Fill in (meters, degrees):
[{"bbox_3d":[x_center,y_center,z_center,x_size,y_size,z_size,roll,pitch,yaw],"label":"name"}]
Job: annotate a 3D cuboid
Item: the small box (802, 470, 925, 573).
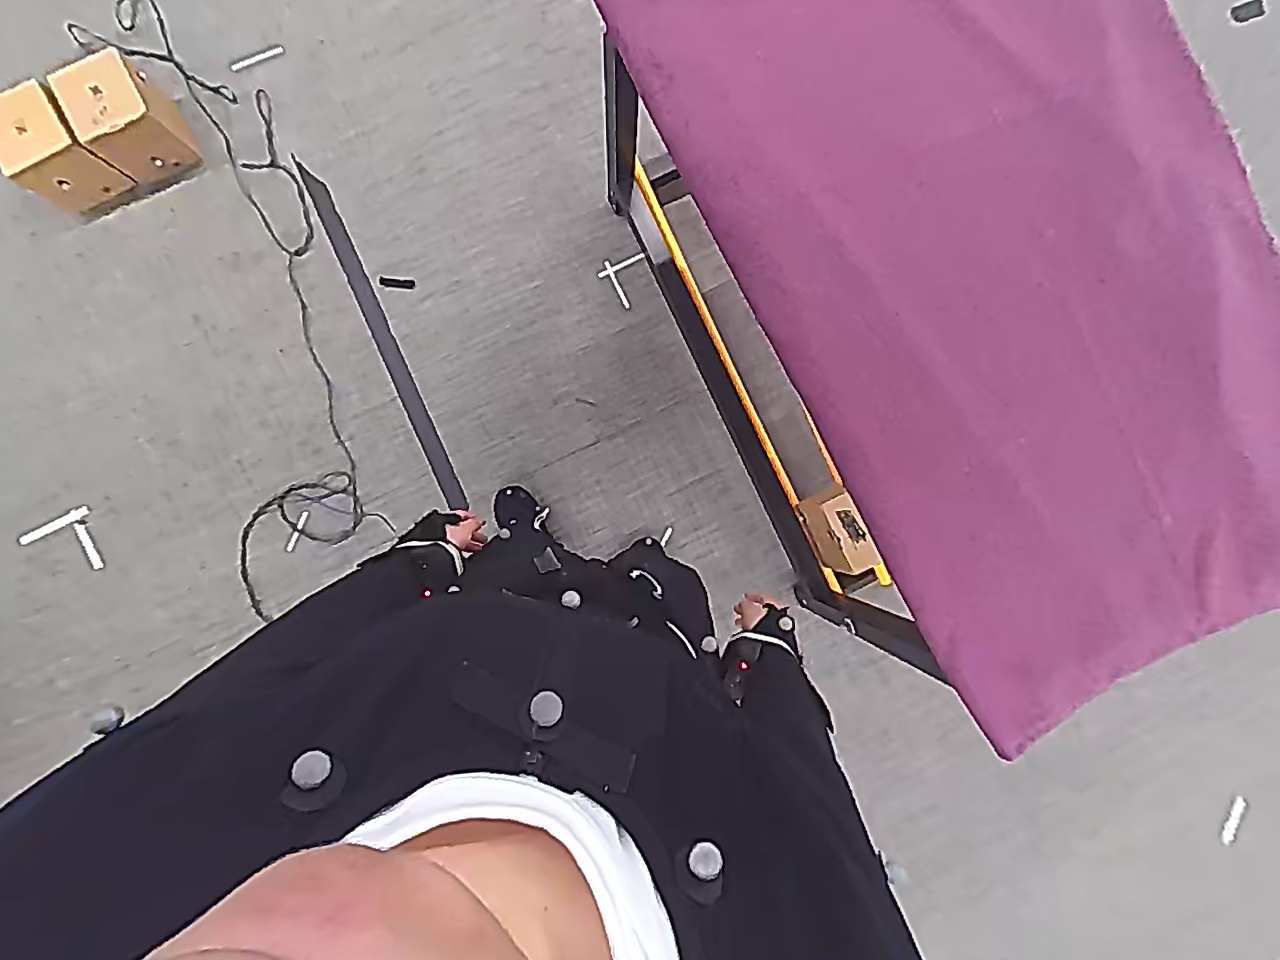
[{"bbox_3d":[0.481,0.092,1.201,0.179,0.176,0.168,-24,88,-4],"label":"small box"}]
